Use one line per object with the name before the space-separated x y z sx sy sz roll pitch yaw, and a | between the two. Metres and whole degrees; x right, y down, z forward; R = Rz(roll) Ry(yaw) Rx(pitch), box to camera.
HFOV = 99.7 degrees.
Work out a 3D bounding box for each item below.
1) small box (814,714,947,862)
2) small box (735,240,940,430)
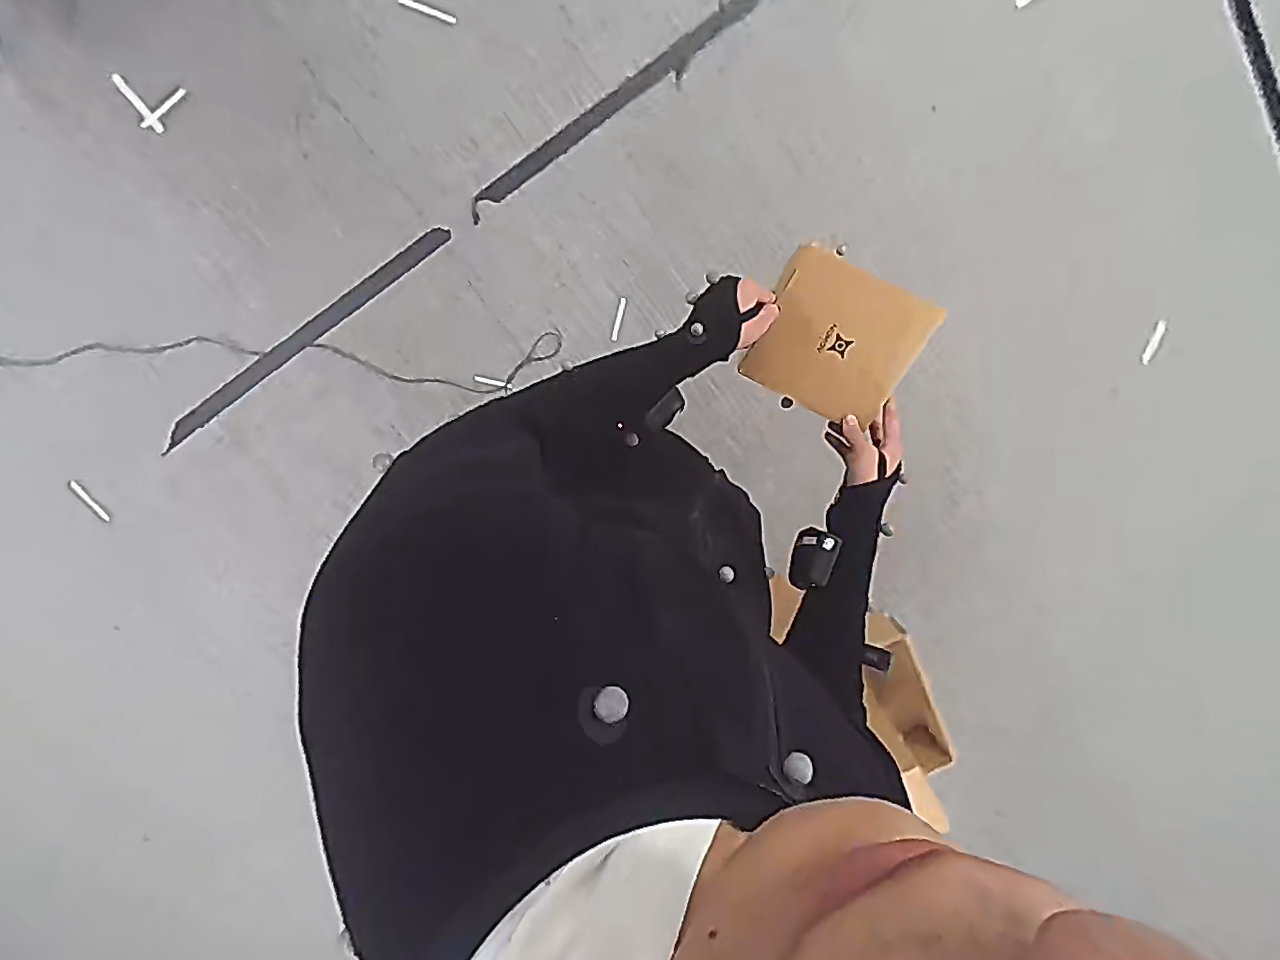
small box | 0.491 0.632 1.123 0.168 0.176 0.179 -28 104 6
small box | 0.240 -0.193 0.703 0.179 0.176 0.168 26 113 1
